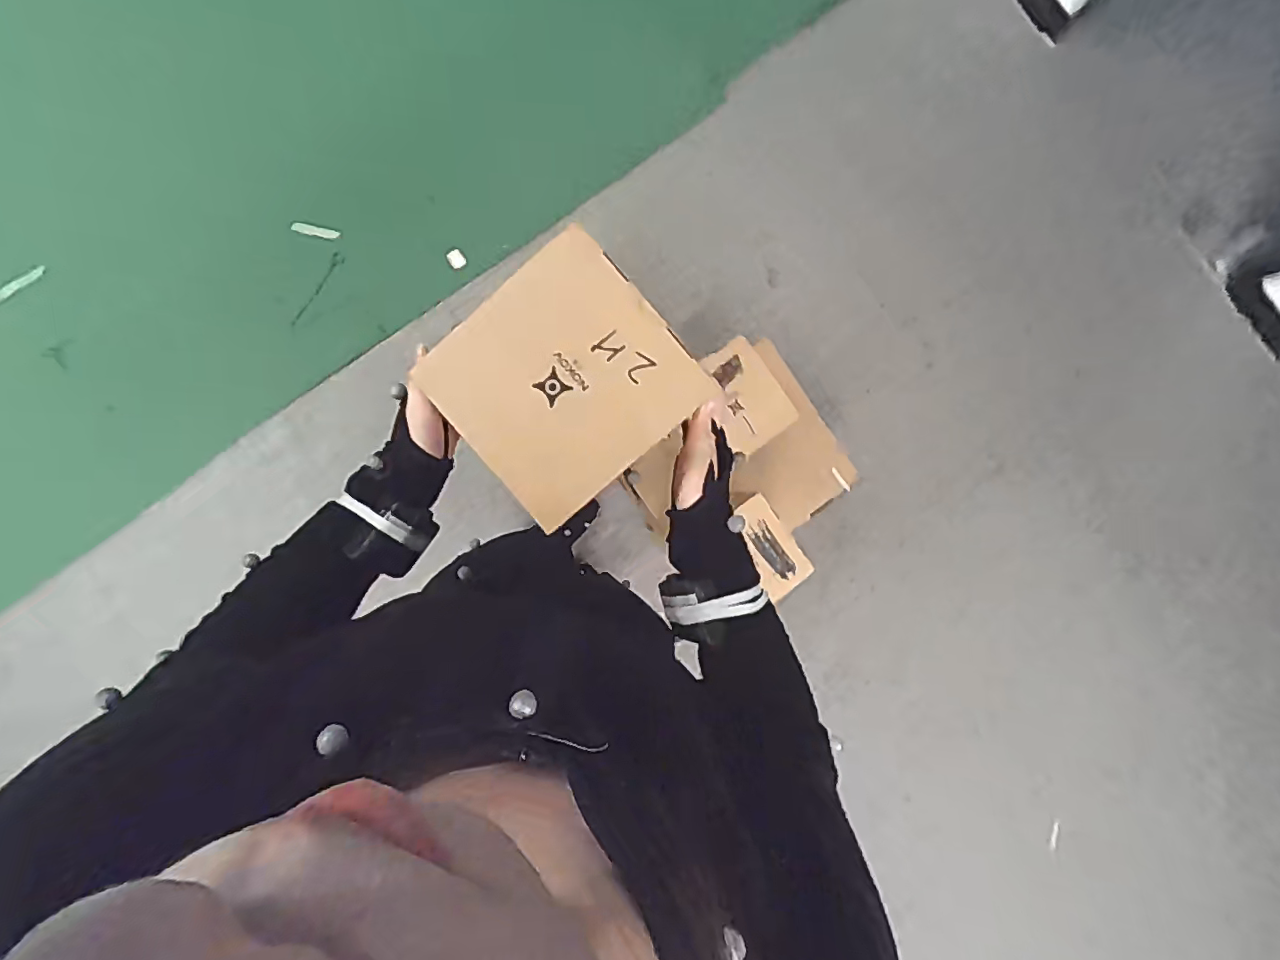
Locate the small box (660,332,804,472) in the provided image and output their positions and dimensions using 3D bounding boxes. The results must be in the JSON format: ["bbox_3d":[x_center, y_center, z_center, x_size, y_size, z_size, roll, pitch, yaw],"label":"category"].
[{"bbox_3d":[0.153,-0.129,0.973,0.168,0.176,0.179,-36,91,-6],"label":"small box"}]

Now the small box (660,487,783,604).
[{"bbox_3d":[0.162,0.128,1.134,0.168,0.176,0.179,-37,92,-6],"label":"small box"}]

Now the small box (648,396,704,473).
[{"bbox_3d":[0.135,-0.130,1.139,0.179,0.176,0.168,-35,91,-7],"label":"small box"}]
